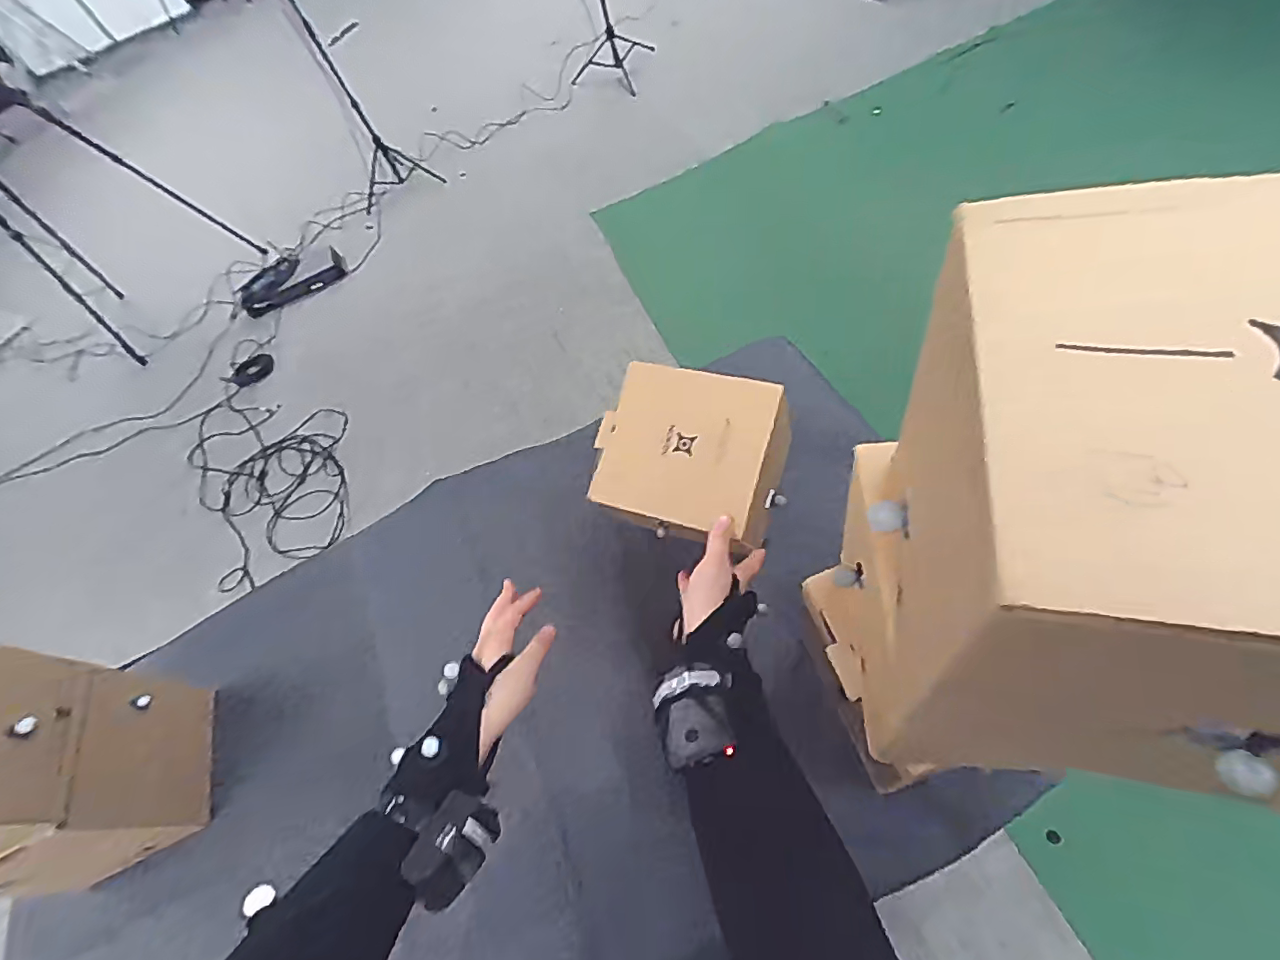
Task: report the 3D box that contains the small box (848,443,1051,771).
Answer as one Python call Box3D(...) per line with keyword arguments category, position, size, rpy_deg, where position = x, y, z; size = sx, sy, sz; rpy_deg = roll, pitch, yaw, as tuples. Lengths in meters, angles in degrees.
Box3D(category="small box", position=(0.236, 0.086, 0.347), size=(0.179, 0.176, 0.168), rpy_deg=(-3, 57, 14))

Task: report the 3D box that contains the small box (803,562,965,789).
Box3D(category="small box", position=(0.266, 0.162, 0.490), size=(0.179, 0.176, 0.168), rpy_deg=(-22, 54, 3))

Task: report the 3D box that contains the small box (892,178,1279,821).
Box3D(category="small box", position=(0.203, 0.017, 0.199), size=(0.179, 0.176, 0.168), rpy_deg=(5, 59, 19))

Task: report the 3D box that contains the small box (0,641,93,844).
Box3D(category="small box", position=(-0.674, 0.257, 0.489), size=(0.179, 0.176, 0.168), rpy_deg=(-26, 58, -2))
